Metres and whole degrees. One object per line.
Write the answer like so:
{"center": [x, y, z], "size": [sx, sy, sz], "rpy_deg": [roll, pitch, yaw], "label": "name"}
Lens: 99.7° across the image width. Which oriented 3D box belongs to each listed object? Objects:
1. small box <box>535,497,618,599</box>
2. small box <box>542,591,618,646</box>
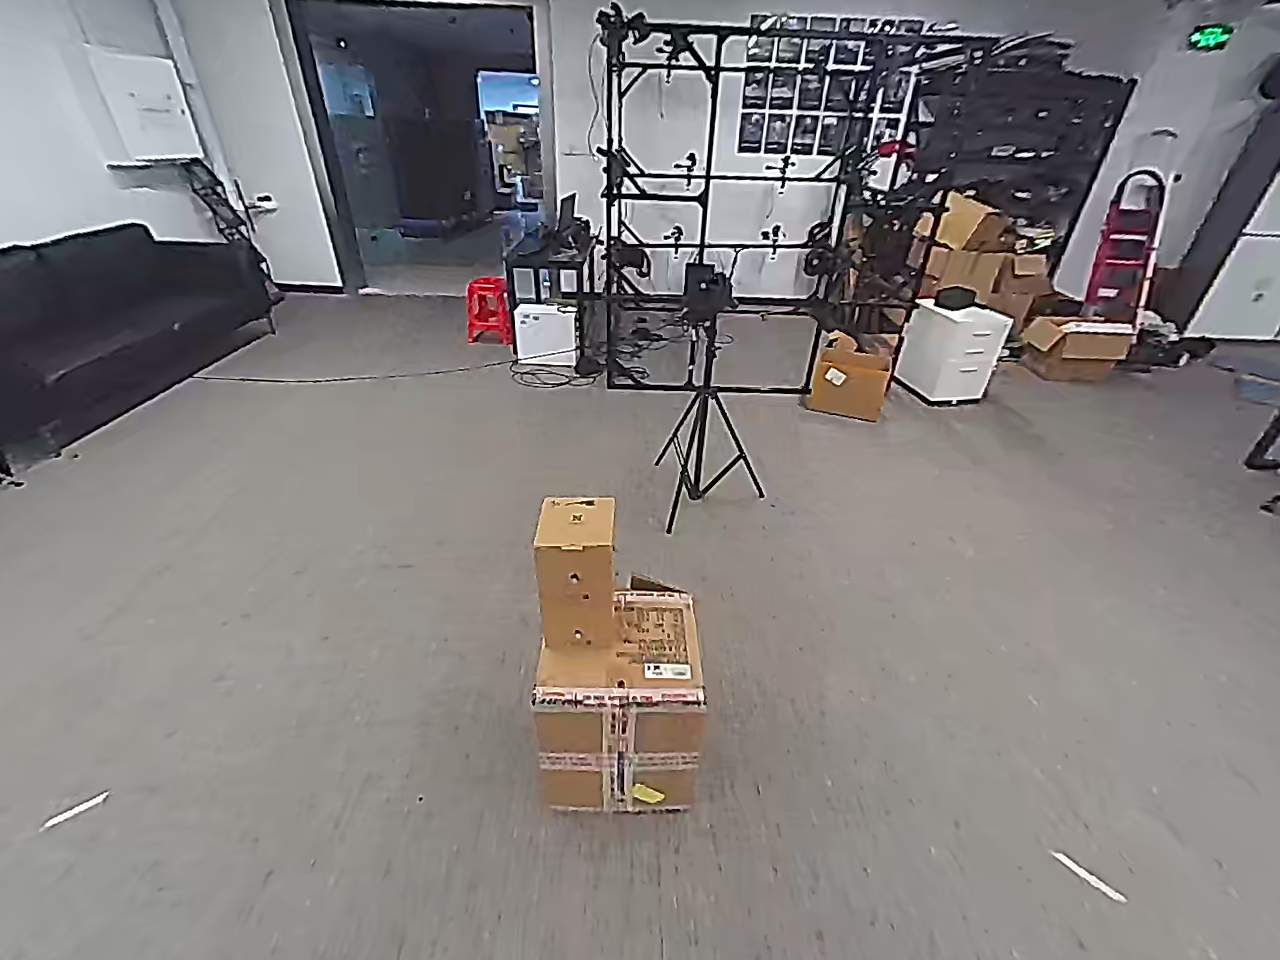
{"center": [-0.137, 0.158, 1.235], "size": [0.168, 0.176, 0.179], "rpy_deg": [0, 35, 0], "label": "small box"}
{"center": [-0.142, 0.288, 1.336], "size": [0.168, 0.176, 0.179], "rpy_deg": [-2, 35, -1], "label": "small box"}
